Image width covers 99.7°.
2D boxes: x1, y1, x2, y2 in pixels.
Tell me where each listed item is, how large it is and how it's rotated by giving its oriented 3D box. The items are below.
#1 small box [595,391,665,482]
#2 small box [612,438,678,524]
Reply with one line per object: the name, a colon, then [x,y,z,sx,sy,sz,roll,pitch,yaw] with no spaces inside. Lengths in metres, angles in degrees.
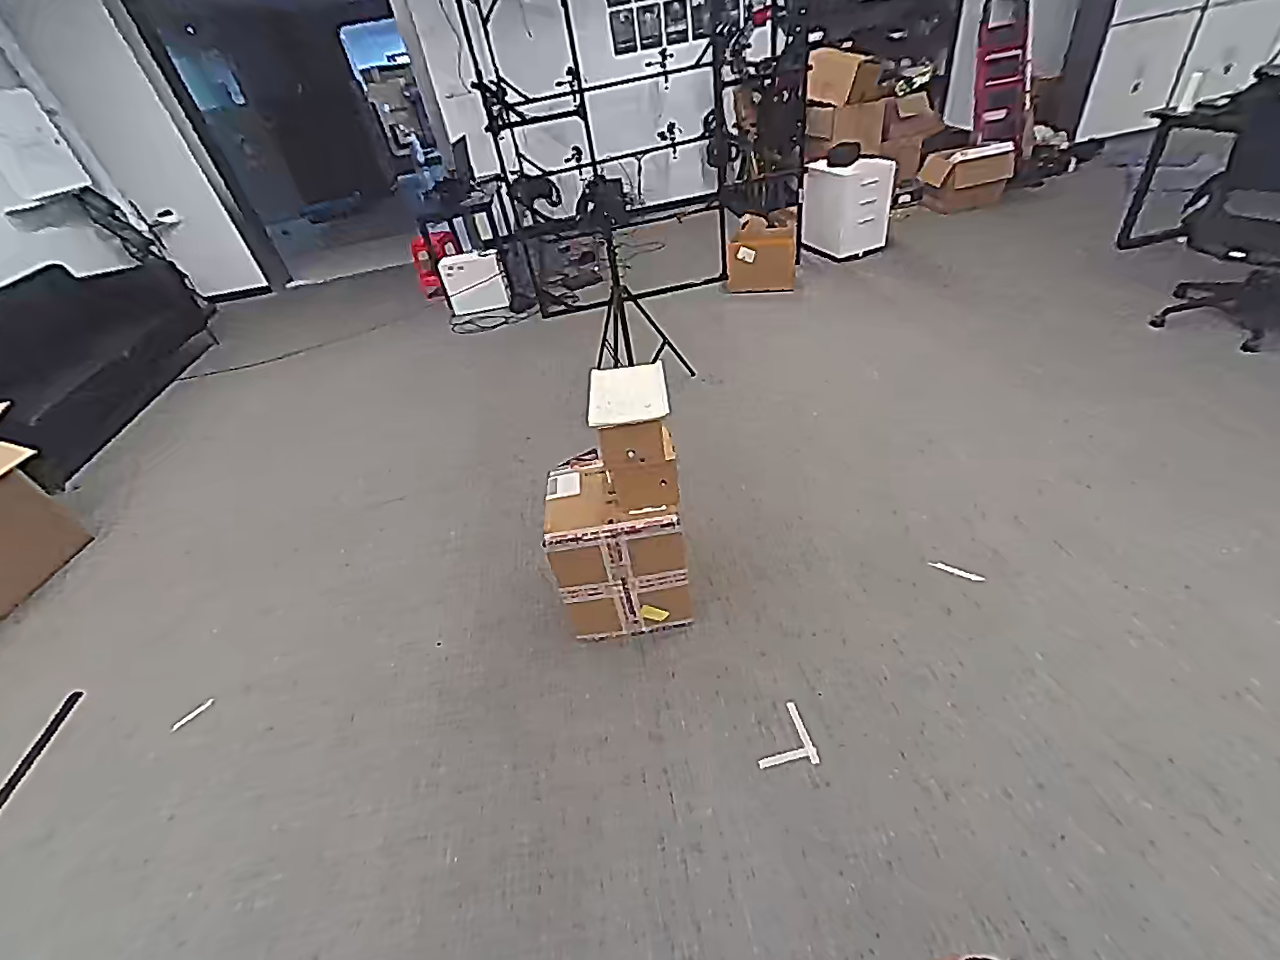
small box: [-0.025,-0.116,1.437,0.168,0.176,0.179,-6,41,2]
small box: [0.012,0.005,1.544,0.179,0.176,0.168,-9,40,0]
